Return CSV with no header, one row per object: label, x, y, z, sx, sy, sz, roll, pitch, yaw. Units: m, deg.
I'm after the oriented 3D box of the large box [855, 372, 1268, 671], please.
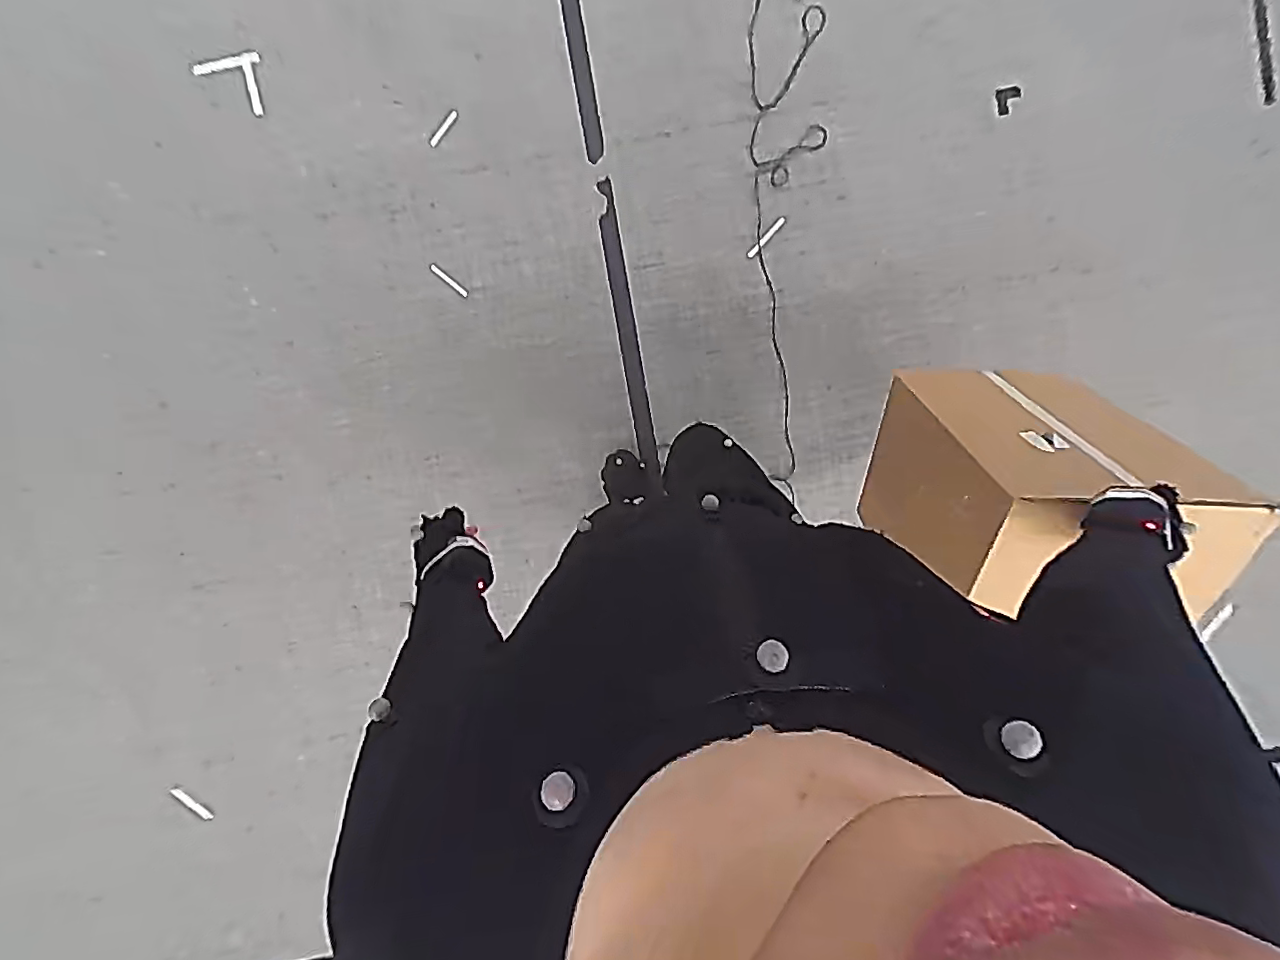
large box,0.601,0.049,0.893,0.320,0.408,0.320,2,124,1
